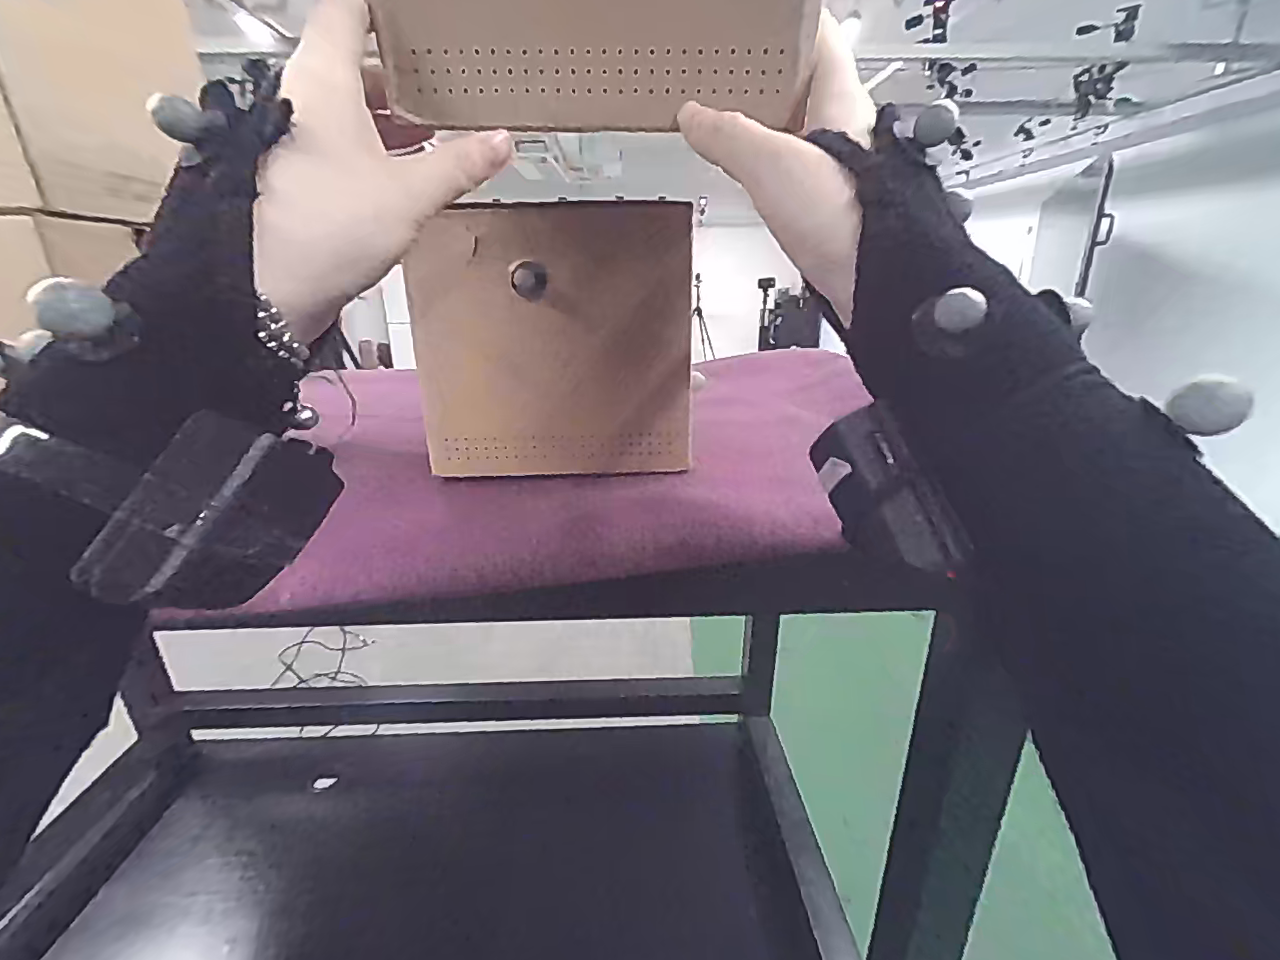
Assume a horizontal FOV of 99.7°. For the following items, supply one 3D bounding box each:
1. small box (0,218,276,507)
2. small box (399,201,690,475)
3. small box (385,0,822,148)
[{"bbox_3d":[-0.402,-0.085,0.383,0.179,0.176,0.168,-3,20,-3],"label":"small box"},{"bbox_3d":[-0.055,-0.104,0.416,0.179,0.176,0.168,-1,18,-1],"label":"small box"},{"bbox_3d":[-0.013,-0.253,0.249,0.179,0.176,0.168,0,34,1],"label":"small box"}]
